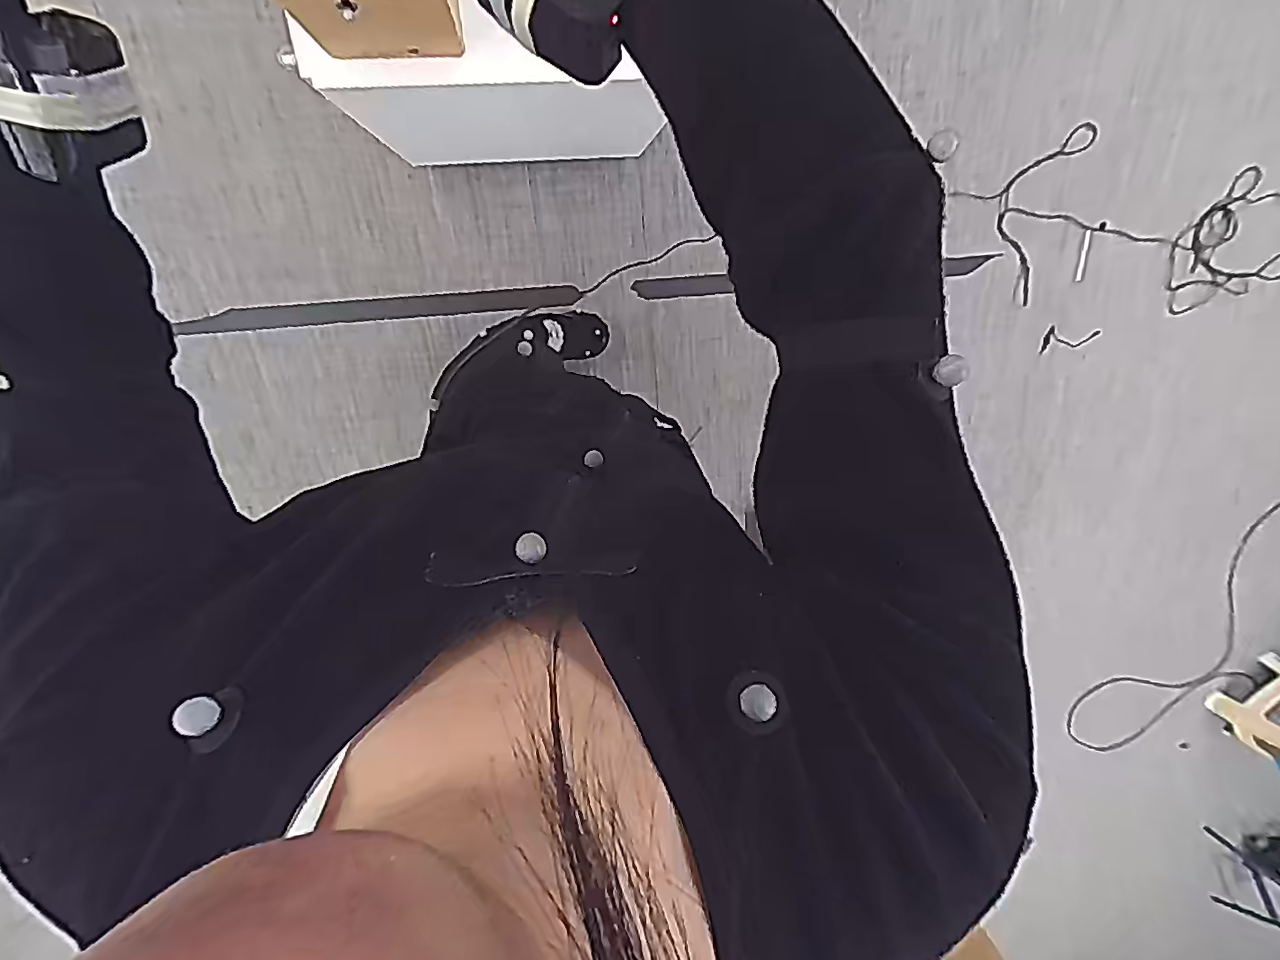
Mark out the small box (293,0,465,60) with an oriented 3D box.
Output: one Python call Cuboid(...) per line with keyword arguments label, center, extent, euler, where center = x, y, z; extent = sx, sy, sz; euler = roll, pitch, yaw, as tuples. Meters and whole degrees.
Cuboid(label="small box", center=(-0.289, -0.577, 0.565), extent=(0.168, 0.176, 0.179), euler=(-7, 111, -8))
